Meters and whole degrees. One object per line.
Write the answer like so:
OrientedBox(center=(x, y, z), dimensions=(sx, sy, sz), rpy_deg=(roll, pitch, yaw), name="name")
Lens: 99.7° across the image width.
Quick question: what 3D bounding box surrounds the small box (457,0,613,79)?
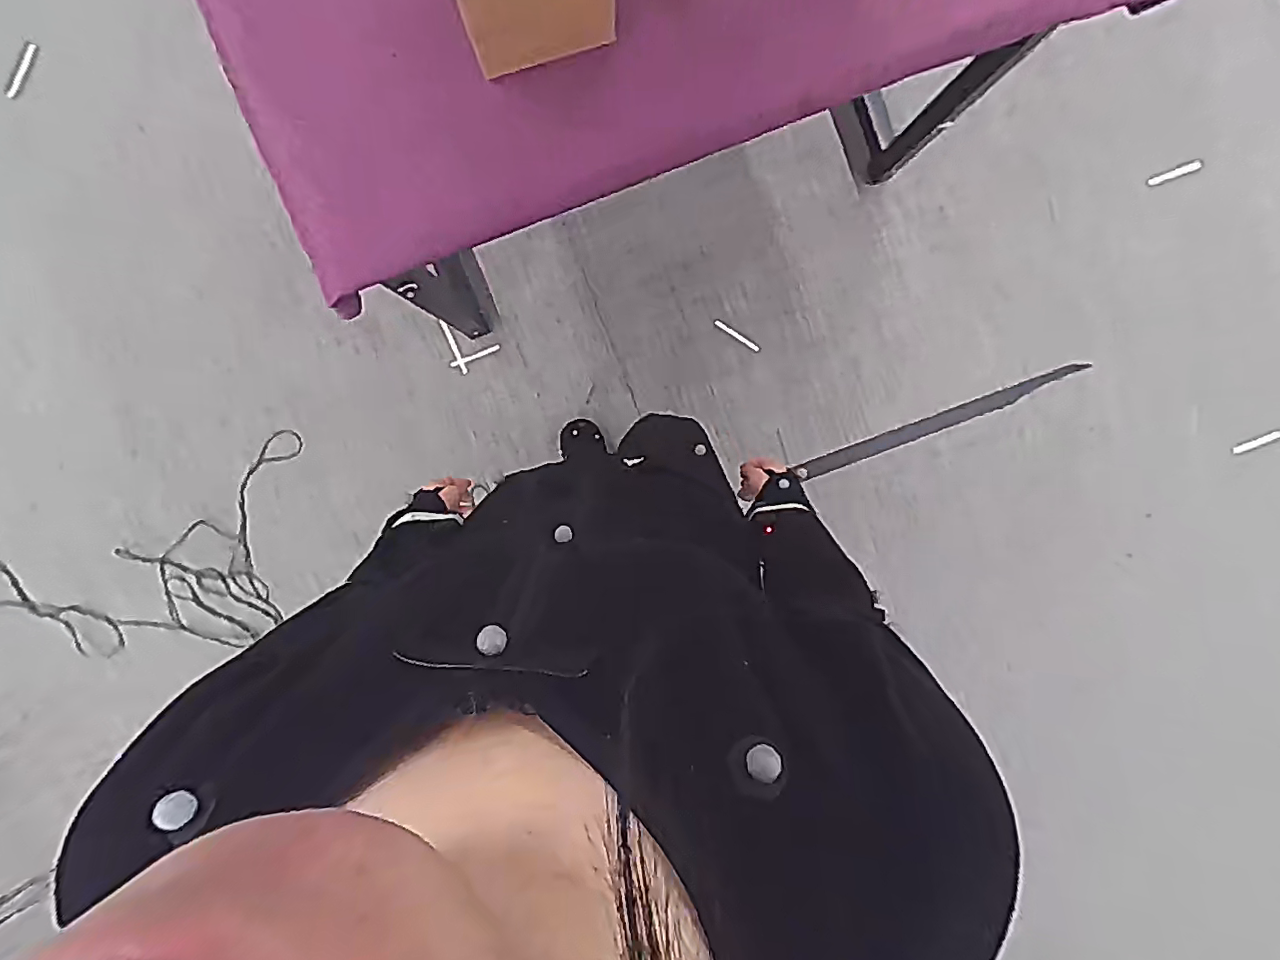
OrientedBox(center=(-0.132, -0.599, 0.602), dimensions=(0.179, 0.176, 0.168), rpy_deg=(-18, 95, -1), name="small box")
